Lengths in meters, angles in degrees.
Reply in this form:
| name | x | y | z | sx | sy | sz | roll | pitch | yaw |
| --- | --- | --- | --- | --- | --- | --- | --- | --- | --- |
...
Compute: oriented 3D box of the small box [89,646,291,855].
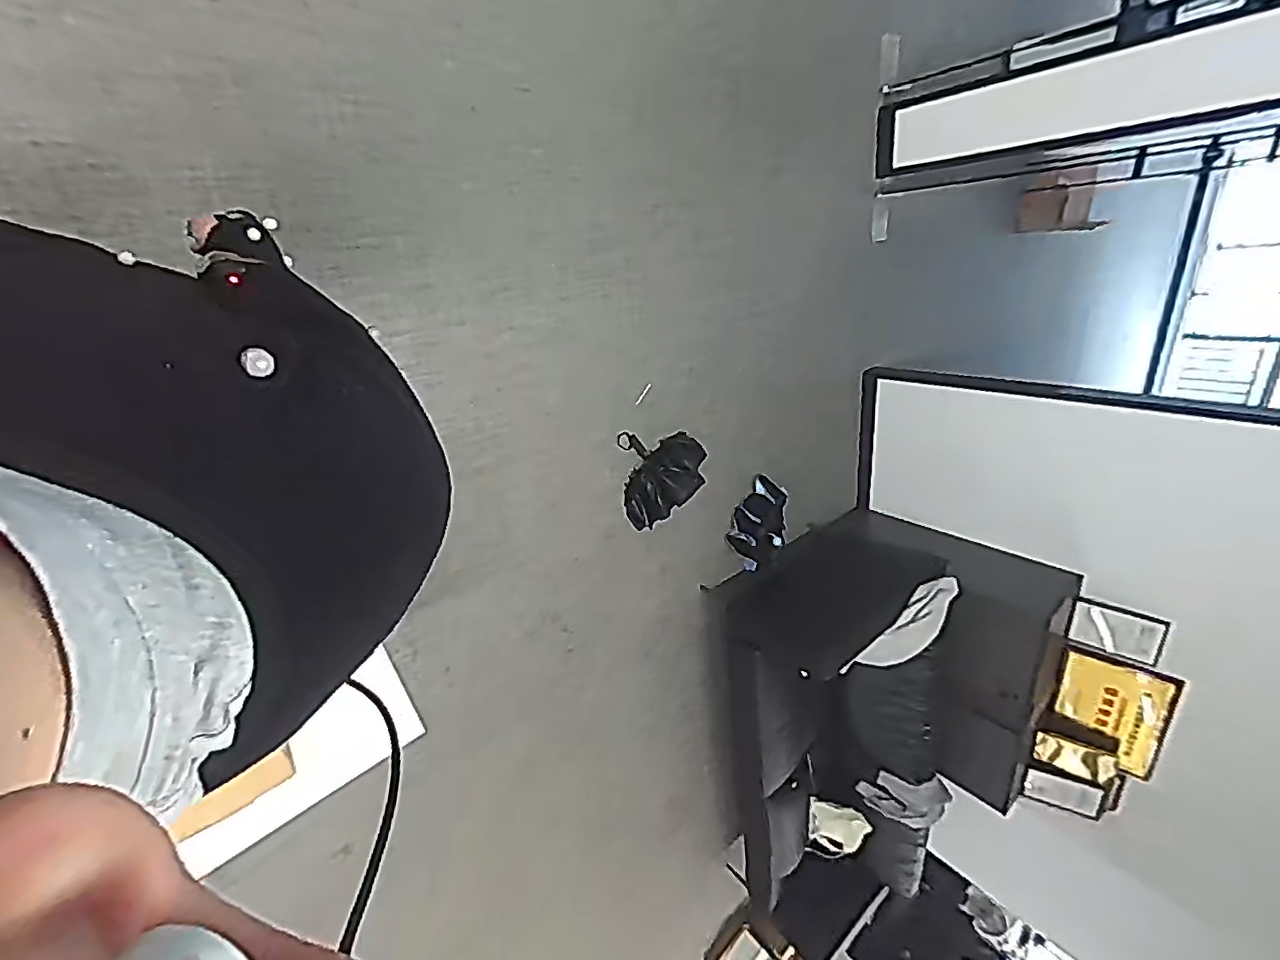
| name | x | y | z | sx | sy | sz | roll | pitch | yaw |
| --- | --- | --- | --- | --- | --- | --- | --- | --- | --- |
| small box | -0.647 | 0.383 | 0.794 | 0.168 | 0.176 | 0.179 | -27 | 122 | -32 |
